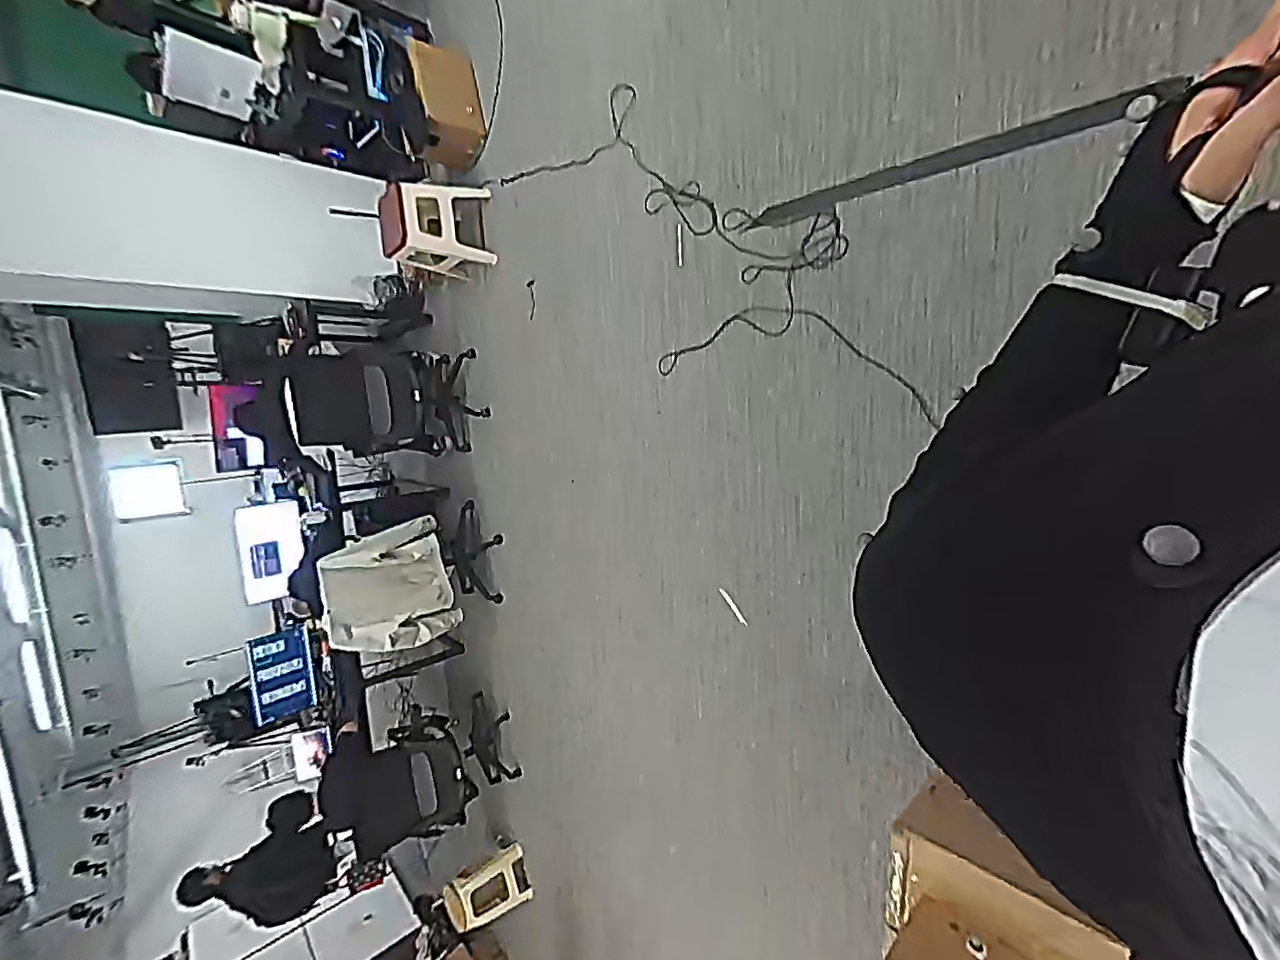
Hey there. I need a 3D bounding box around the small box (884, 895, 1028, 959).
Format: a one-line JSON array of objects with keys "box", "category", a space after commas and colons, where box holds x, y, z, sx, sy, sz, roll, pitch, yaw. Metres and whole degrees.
[{"box": [0.486, 0.809, 0.831, 0.168, 0.176, 0.179, 8, 101, 46], "category": "small box"}]
